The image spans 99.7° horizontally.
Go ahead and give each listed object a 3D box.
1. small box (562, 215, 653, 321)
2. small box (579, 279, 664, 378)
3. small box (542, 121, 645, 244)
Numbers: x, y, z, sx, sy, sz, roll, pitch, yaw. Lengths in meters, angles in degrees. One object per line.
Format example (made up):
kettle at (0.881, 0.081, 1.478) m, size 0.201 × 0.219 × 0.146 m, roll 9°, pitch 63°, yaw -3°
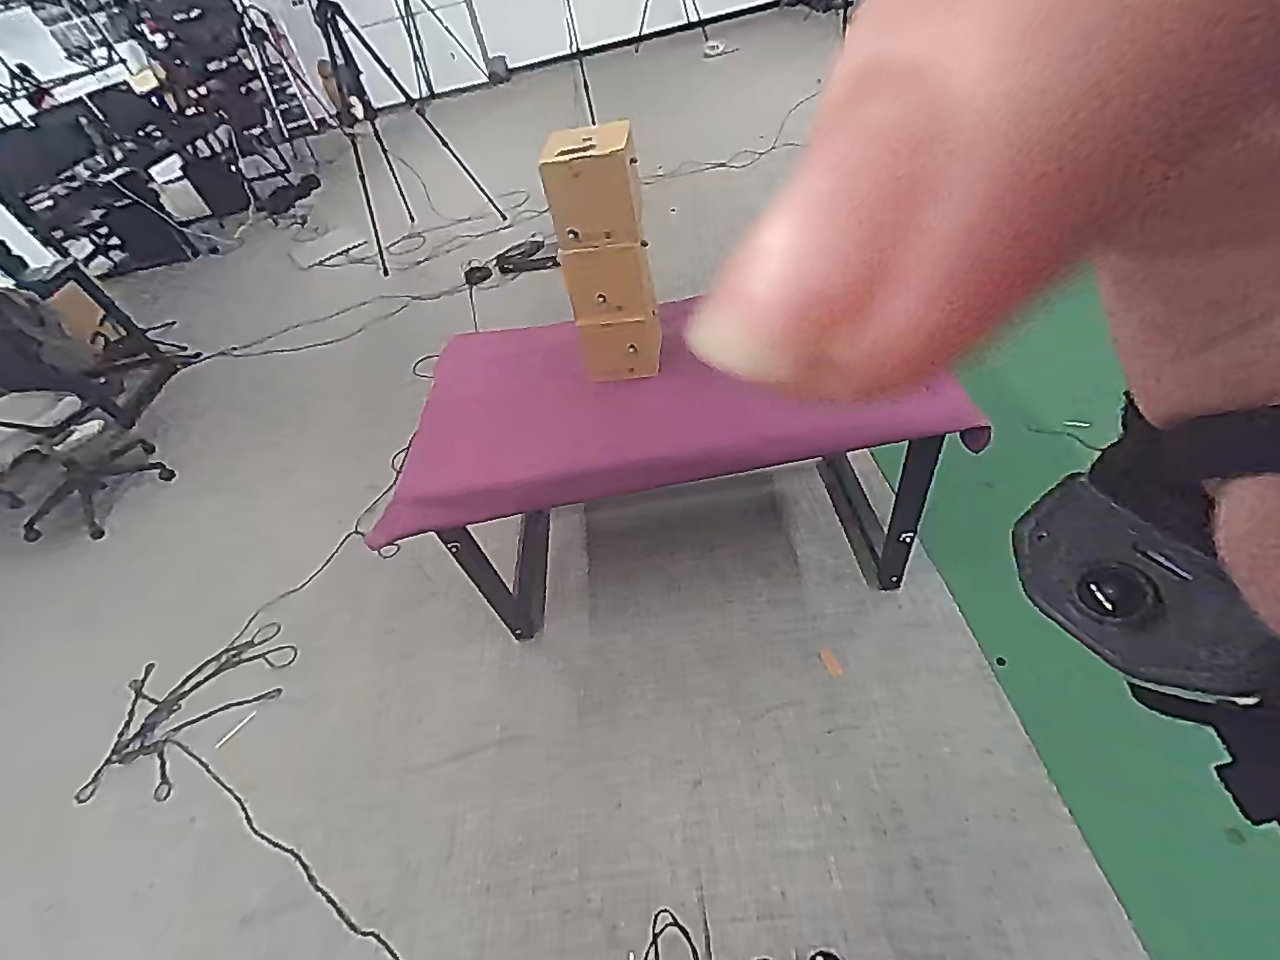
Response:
small box at (-0.065, -0.478, 1.209) m, size 0.168 × 0.176 × 0.179 m, roll -4°, pitch 48°, yaw 9°
small box at (-0.037, -0.362, 1.319) m, size 0.168 × 0.176 × 0.179 m, roll -2°, pitch 47°, yaw 11°
small box at (-0.084, -0.593, 1.094) m, size 0.168 × 0.176 × 0.179 m, roll -3°, pitch 48°, yaw 9°
